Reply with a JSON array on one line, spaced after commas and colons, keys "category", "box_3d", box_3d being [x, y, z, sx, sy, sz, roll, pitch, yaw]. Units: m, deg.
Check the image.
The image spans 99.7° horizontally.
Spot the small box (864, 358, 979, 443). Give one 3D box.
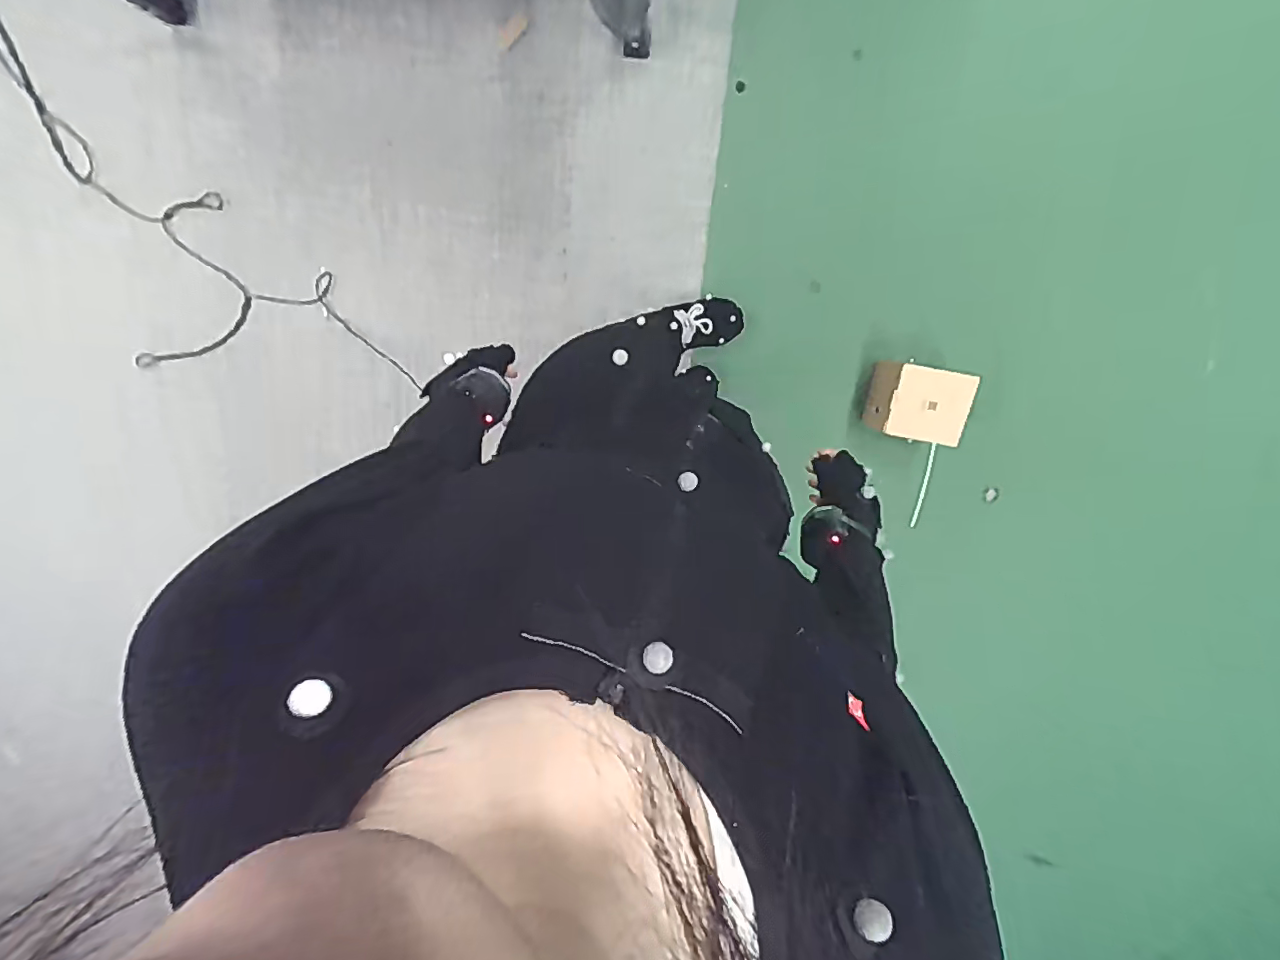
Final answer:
[{"category": "small box", "box_3d": [0.670, -0.200, 1.314, 0.179, 0.176, 0.168, 11, 106, 2]}]
